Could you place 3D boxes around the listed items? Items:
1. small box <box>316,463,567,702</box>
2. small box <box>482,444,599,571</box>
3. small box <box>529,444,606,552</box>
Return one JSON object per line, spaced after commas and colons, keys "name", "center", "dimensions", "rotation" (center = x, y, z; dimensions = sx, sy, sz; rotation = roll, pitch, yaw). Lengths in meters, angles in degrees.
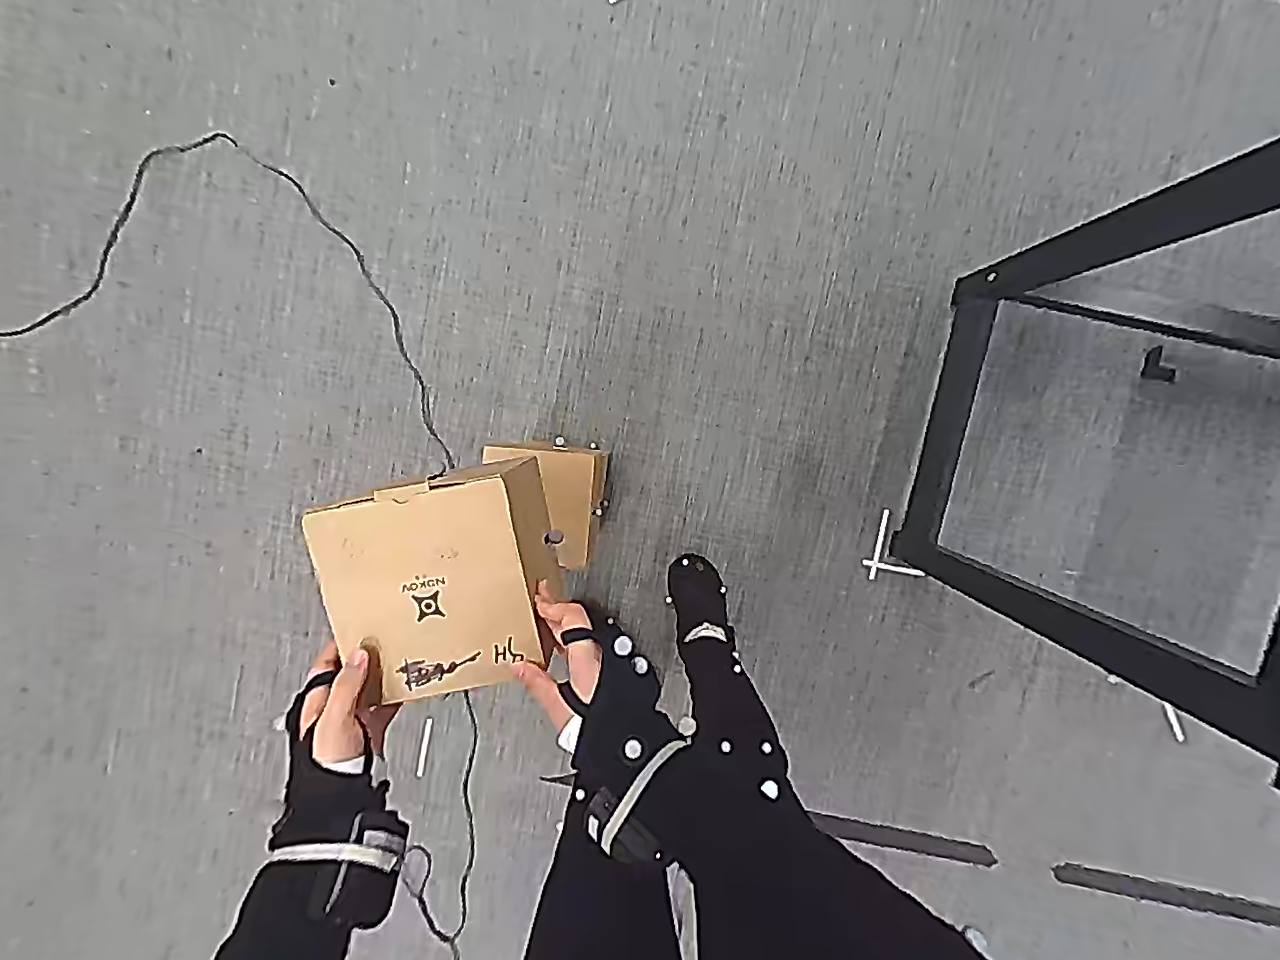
{"name": "small box", "center": [-0.173, 0.082, 0.531], "dimensions": [0.168, 0.176, 0.179], "rotation": [-10, 98, 0]}
{"name": "small box", "center": [-0.157, 0.037, 0.878], "dimensions": [0.168, 0.176, 0.179], "rotation": [4, 95, -2]}
{"name": "small box", "center": [-0.157, 0.026, 1.040], "dimensions": [0.168, 0.176, 0.179], "rotation": [8, 97, -1]}
